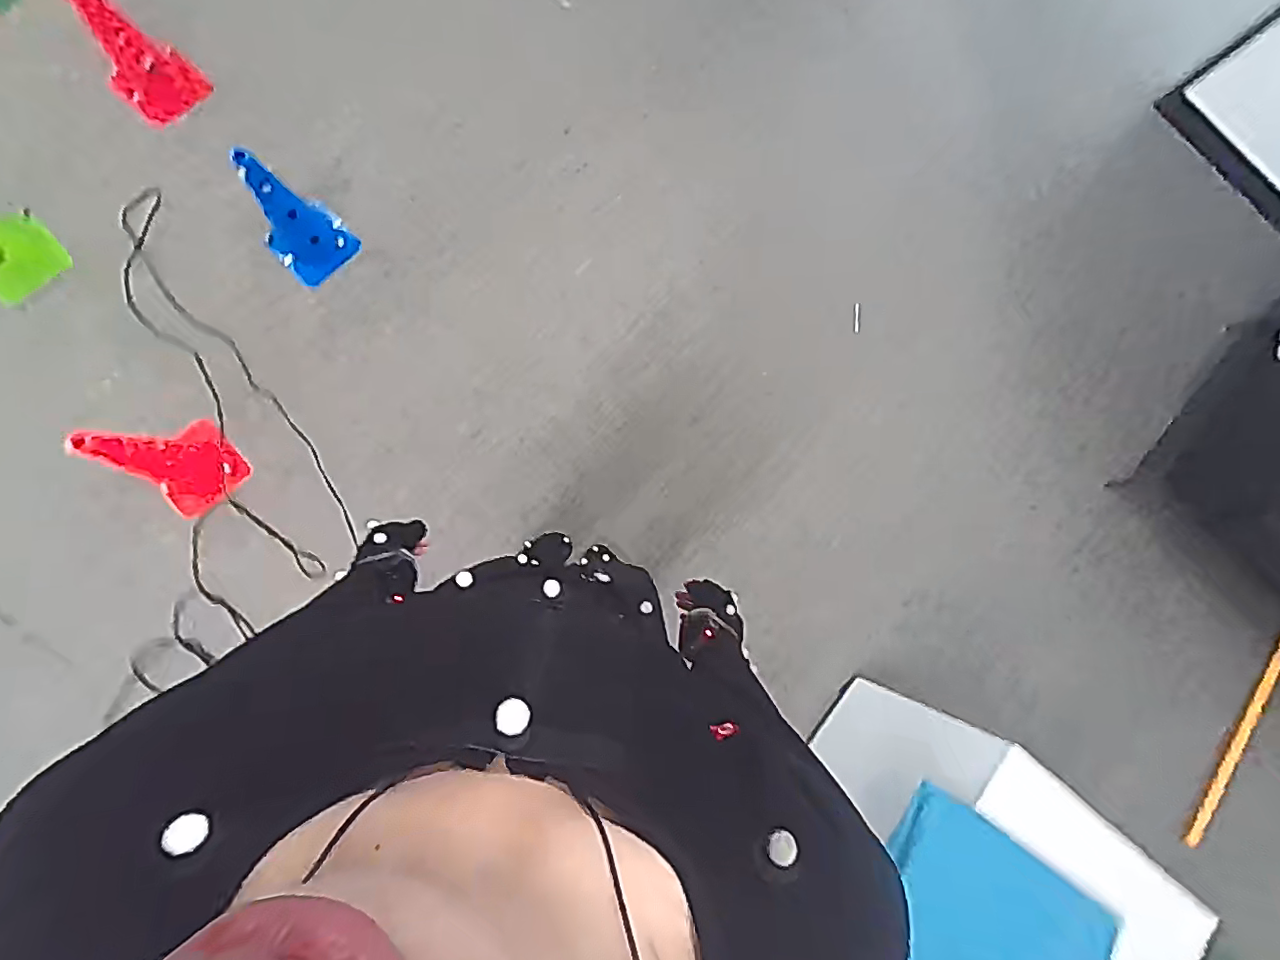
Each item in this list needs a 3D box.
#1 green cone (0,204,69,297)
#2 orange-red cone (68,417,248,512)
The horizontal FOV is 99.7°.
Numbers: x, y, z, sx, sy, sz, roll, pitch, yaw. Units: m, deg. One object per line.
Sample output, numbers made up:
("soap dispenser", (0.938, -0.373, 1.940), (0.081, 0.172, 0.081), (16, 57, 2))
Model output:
("green cone", (-1.615, -0.619, 1.240), (0.200, 0.368, 0.202), (-42, 91, -10))
("orange-red cone", (-1.135, -0.066, 1.241), (0.198, 0.360, 0.199), (-40, 88, -11))
